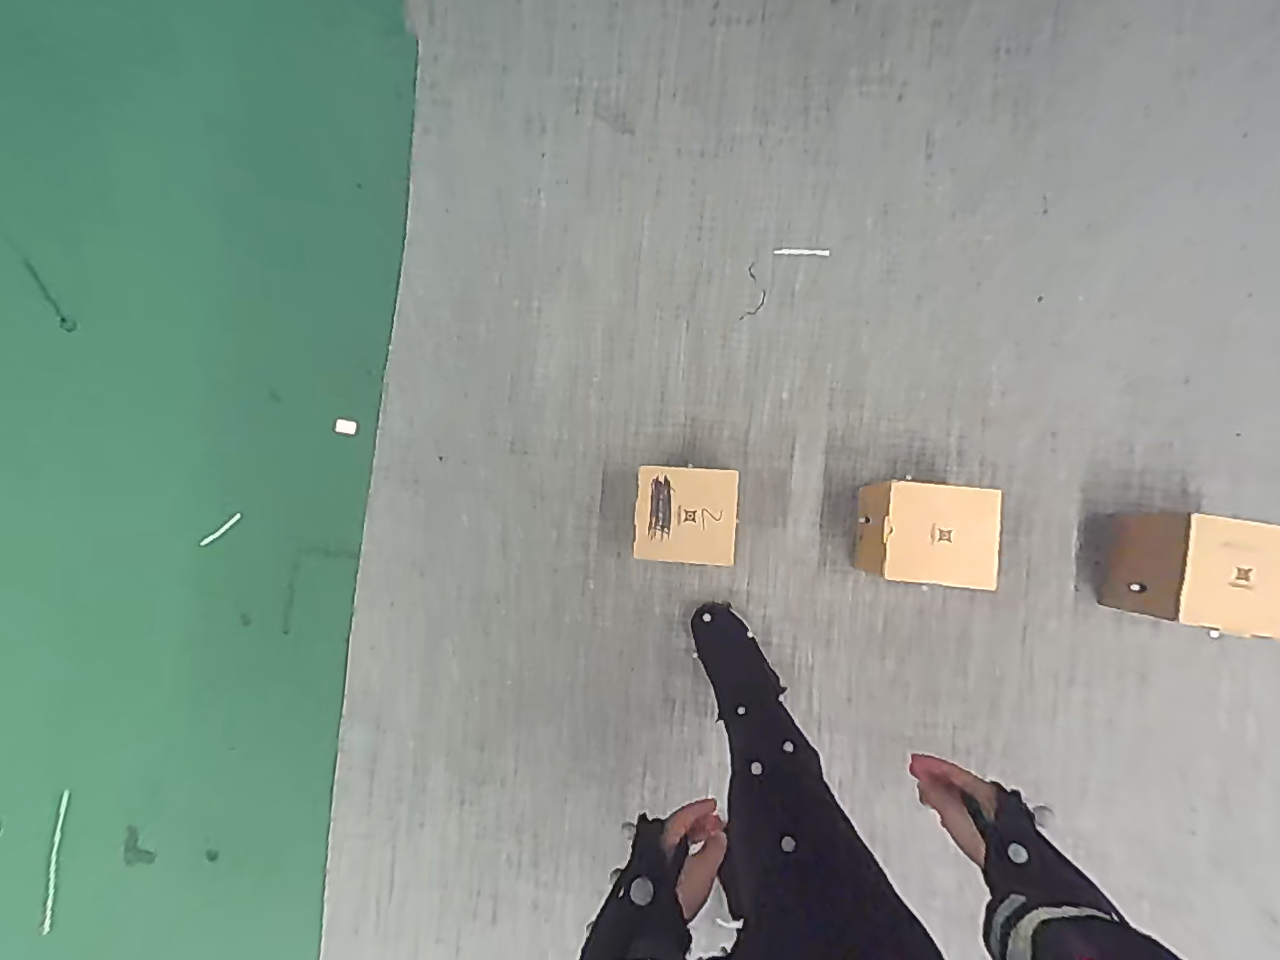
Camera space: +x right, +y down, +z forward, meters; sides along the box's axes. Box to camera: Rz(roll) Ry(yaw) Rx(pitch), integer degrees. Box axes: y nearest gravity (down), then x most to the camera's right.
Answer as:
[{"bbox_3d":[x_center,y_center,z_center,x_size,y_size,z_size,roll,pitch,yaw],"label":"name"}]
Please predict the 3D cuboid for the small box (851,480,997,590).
[{"bbox_3d":[0.494,0.092,0.960,0.179,0.176,0.168,5,87,7],"label":"small box"}]

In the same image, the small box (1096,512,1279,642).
[{"bbox_3d":[0.917,0.153,0.907,0.168,0.176,0.179,9,87,6],"label":"small box"}]
